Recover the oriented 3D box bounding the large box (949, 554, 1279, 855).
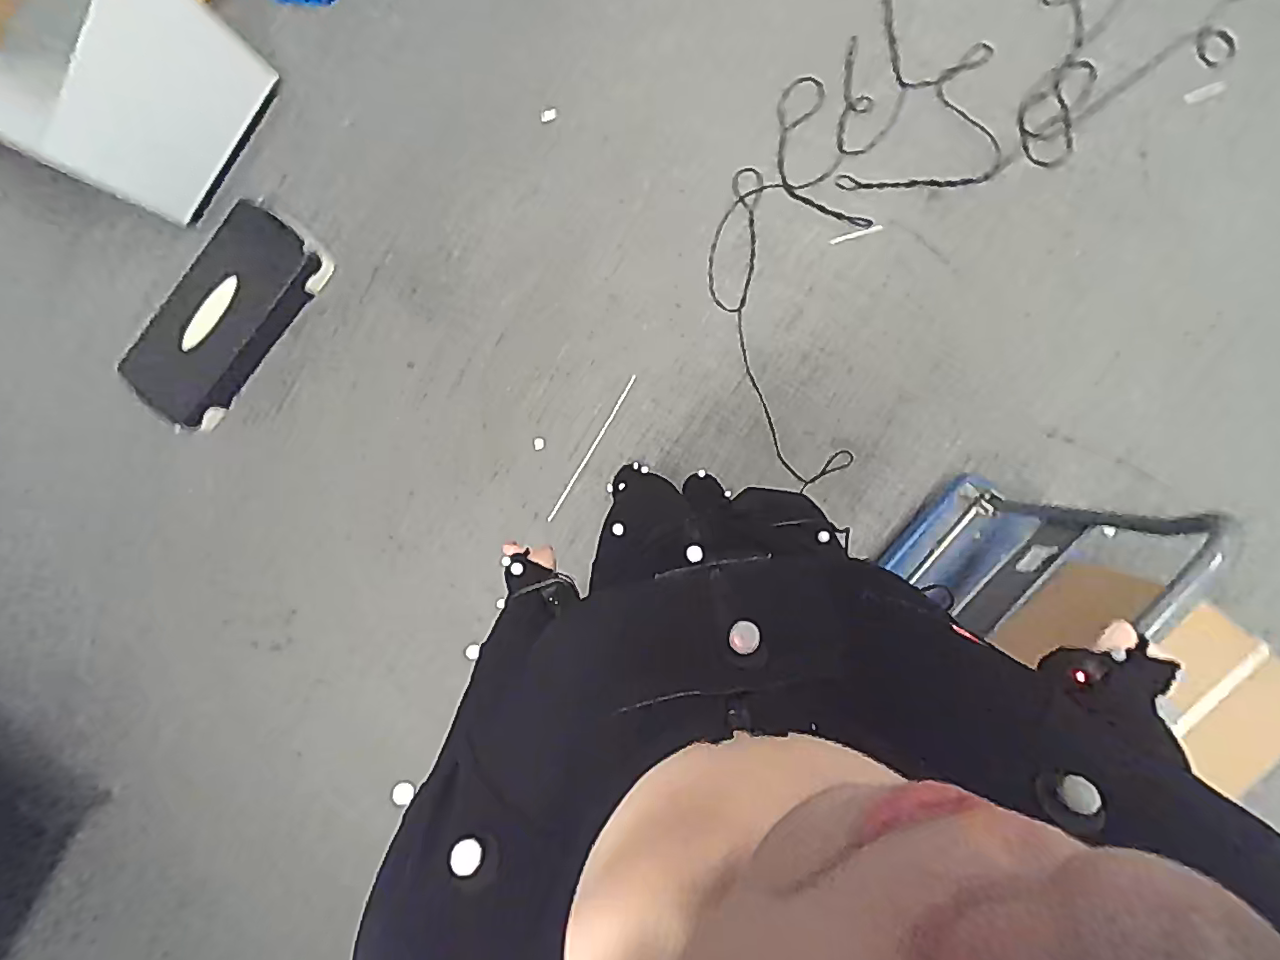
[{"bbox_3d":[0.948,0.417,1.103,0.320,0.320,0.408,41,96,5],"label":"large box"}]
